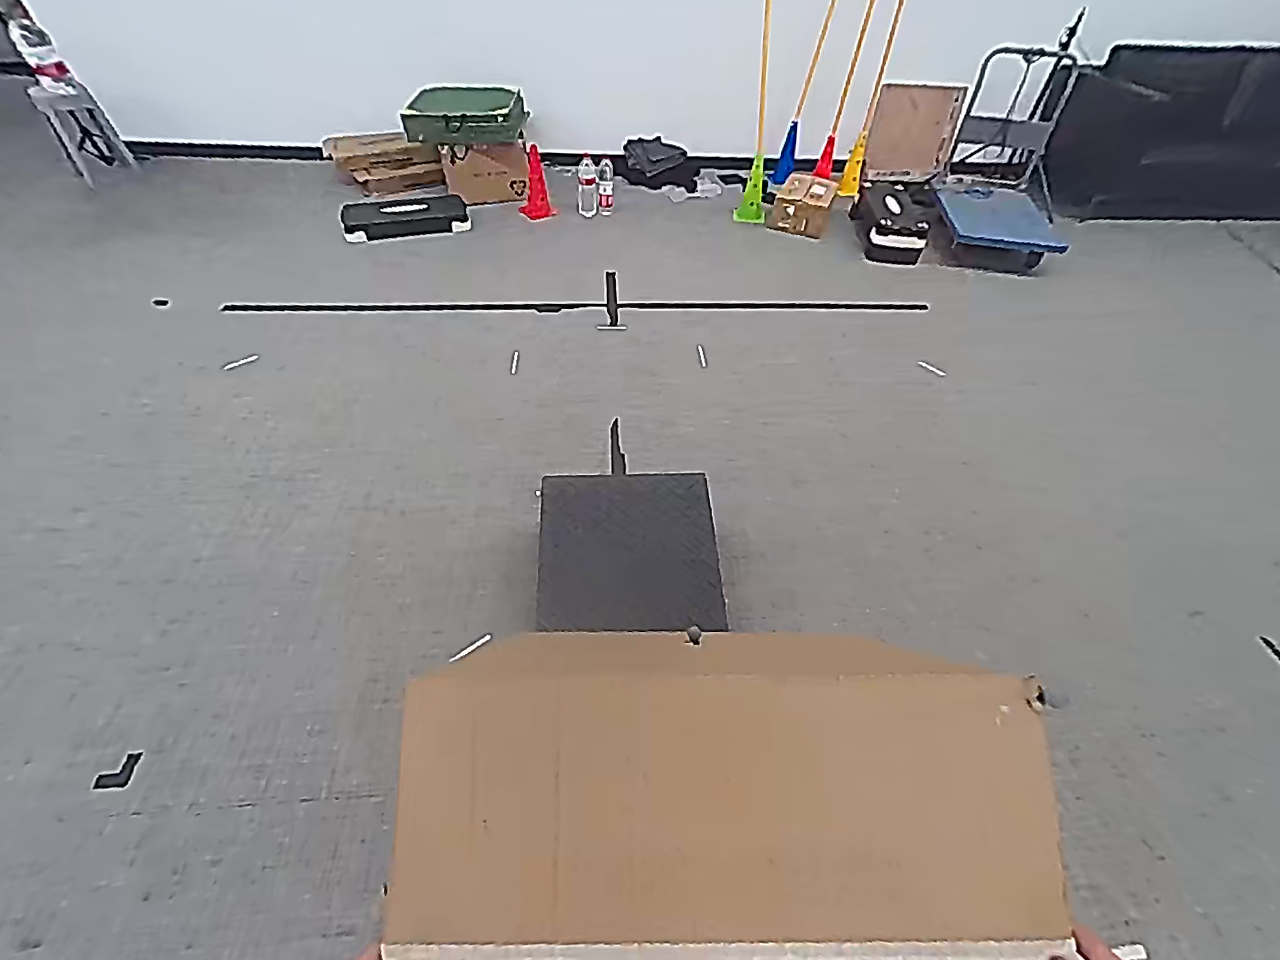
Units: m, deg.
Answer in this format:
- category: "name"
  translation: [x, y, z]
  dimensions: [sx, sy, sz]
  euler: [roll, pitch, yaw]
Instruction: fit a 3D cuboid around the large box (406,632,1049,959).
- category: "large box"
  translation: [0.050, 0.310, 0.480]
  dimensions: [0.408, 0.320, 0.320]
  euler: [-1, 81, -1]
